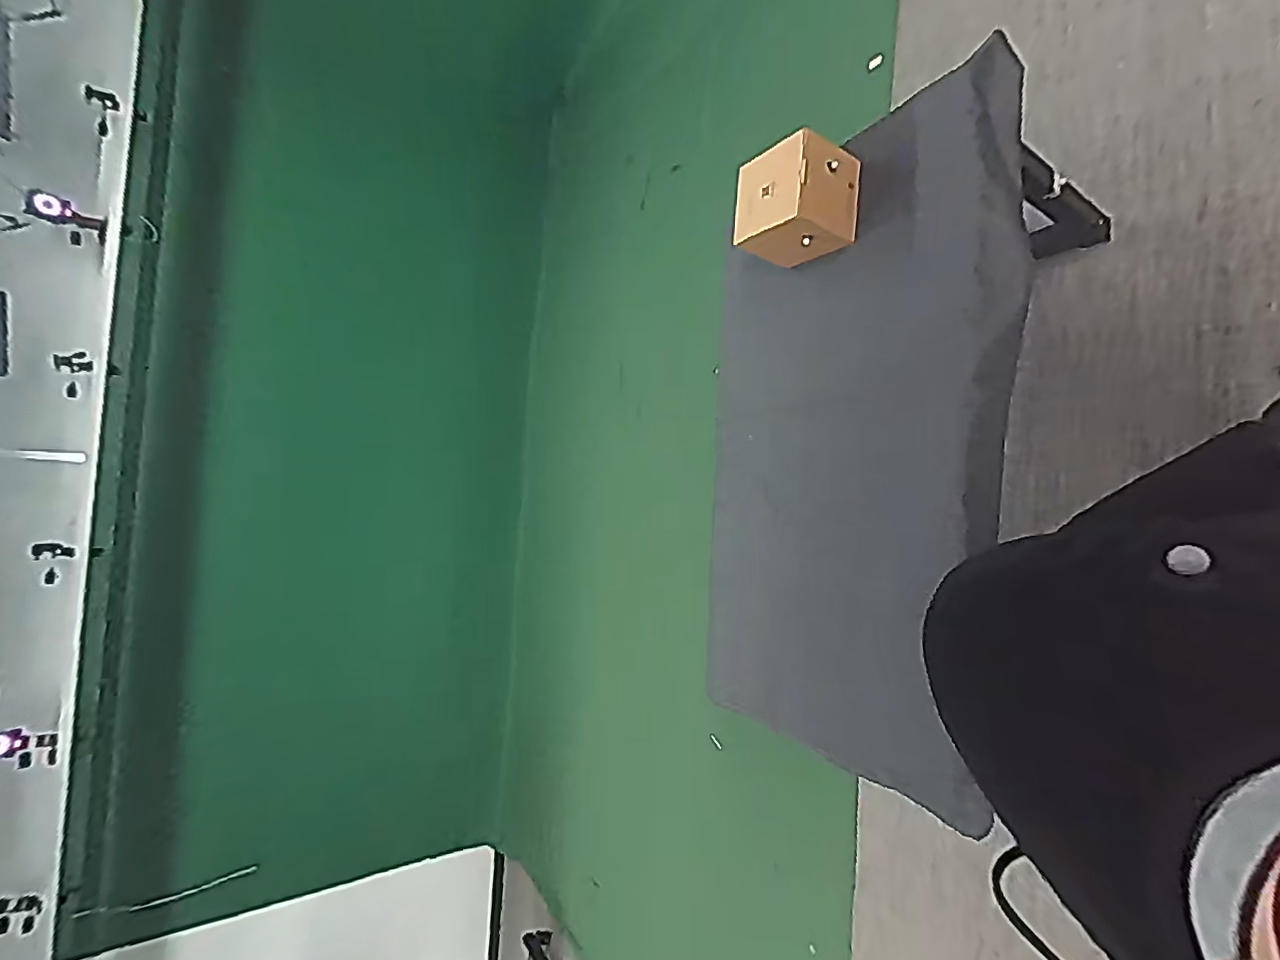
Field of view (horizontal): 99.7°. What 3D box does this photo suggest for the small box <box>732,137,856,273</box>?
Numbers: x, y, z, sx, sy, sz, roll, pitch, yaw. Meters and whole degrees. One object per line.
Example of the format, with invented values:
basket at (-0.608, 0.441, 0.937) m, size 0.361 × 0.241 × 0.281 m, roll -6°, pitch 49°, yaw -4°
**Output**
small box at (0.313, -0.546, 1.101) m, size 0.179 × 0.176 × 0.168 m, roll 3°, pitch 86°, yaw 58°
